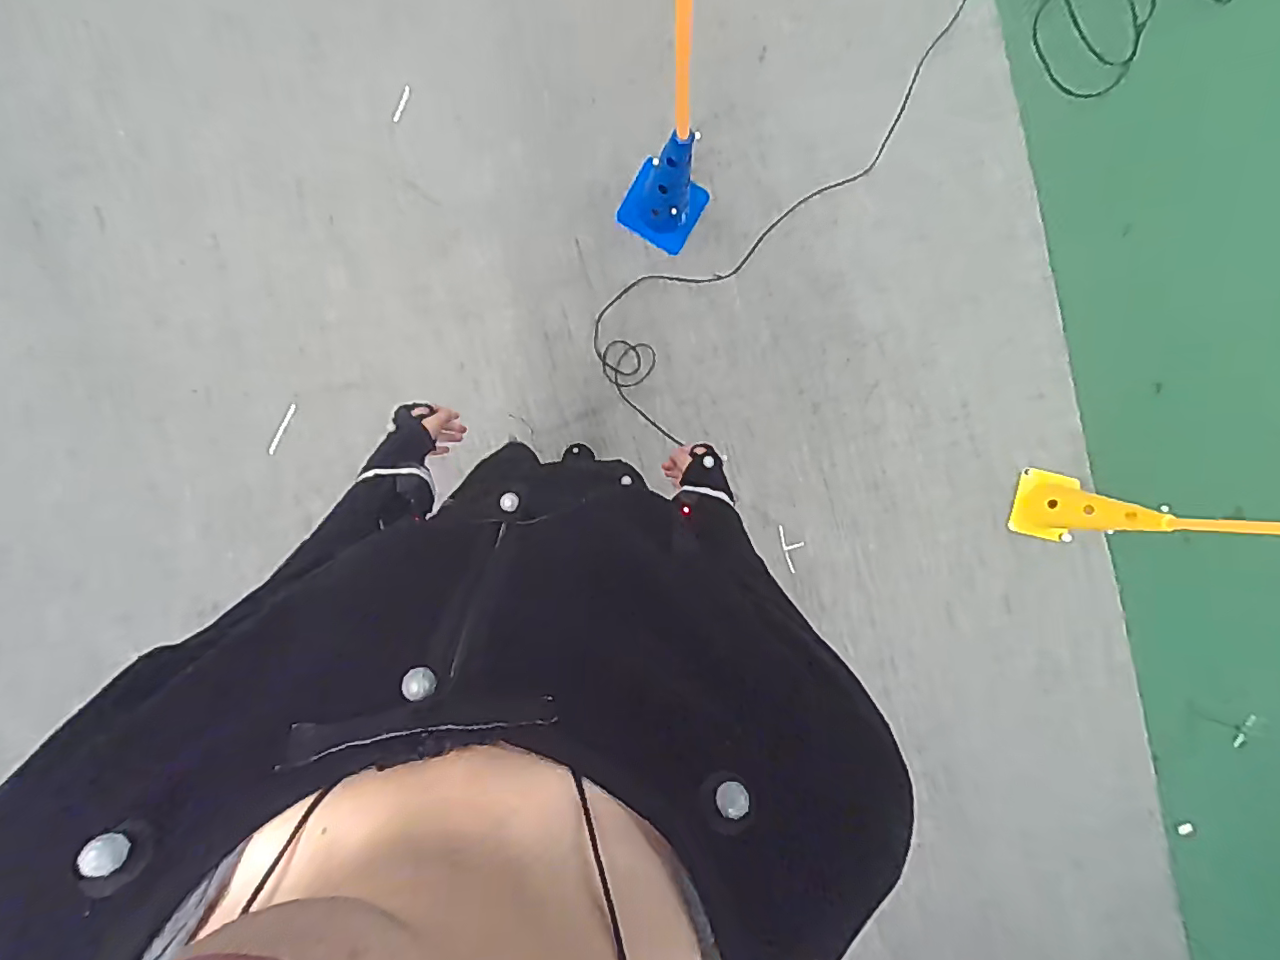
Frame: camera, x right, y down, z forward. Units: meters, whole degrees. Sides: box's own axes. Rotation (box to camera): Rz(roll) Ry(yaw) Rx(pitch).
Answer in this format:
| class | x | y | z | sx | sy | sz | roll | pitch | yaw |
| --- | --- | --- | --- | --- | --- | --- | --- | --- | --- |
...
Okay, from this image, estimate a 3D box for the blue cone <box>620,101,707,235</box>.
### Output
| class | x | y | z | sx | sy | sz | roll | pitch | yaw |
| --- | --- | --- | --- | --- | --- | --- | --- | --- | --- |
| blue cone | 0.073 | -0.747 | 1.264 | 0.193 | 0.380 | 0.192 | 28 | 92 | -6 |
